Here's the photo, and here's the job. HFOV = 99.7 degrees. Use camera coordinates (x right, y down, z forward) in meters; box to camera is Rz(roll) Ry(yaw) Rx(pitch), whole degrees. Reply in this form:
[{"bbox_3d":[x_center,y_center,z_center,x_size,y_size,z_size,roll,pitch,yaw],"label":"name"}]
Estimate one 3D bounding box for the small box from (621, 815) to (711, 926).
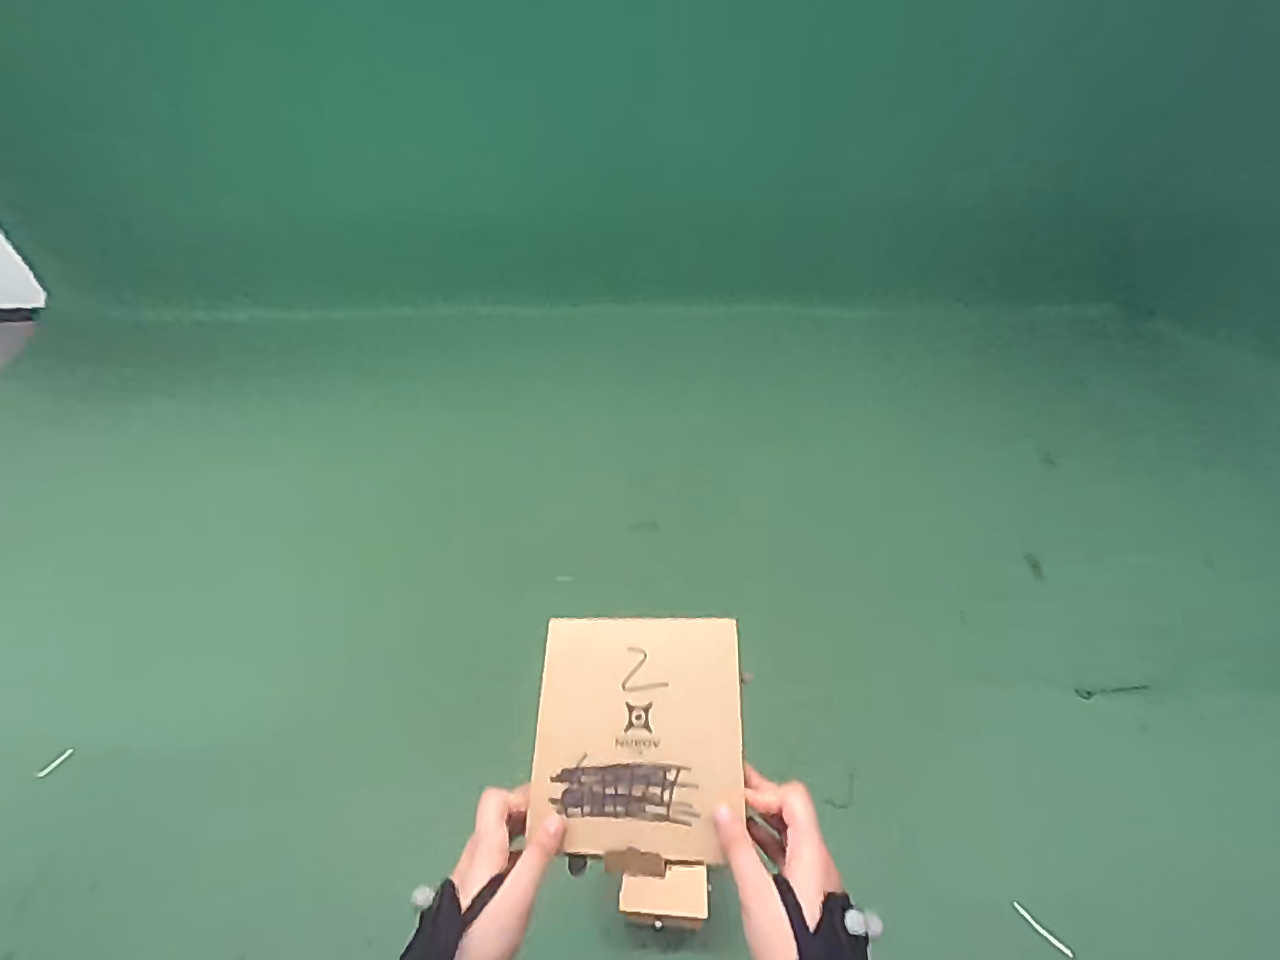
[{"bbox_3d":[0.055,0.837,1.156,0.179,0.176,0.168,2,45,3],"label":"small box"}]
